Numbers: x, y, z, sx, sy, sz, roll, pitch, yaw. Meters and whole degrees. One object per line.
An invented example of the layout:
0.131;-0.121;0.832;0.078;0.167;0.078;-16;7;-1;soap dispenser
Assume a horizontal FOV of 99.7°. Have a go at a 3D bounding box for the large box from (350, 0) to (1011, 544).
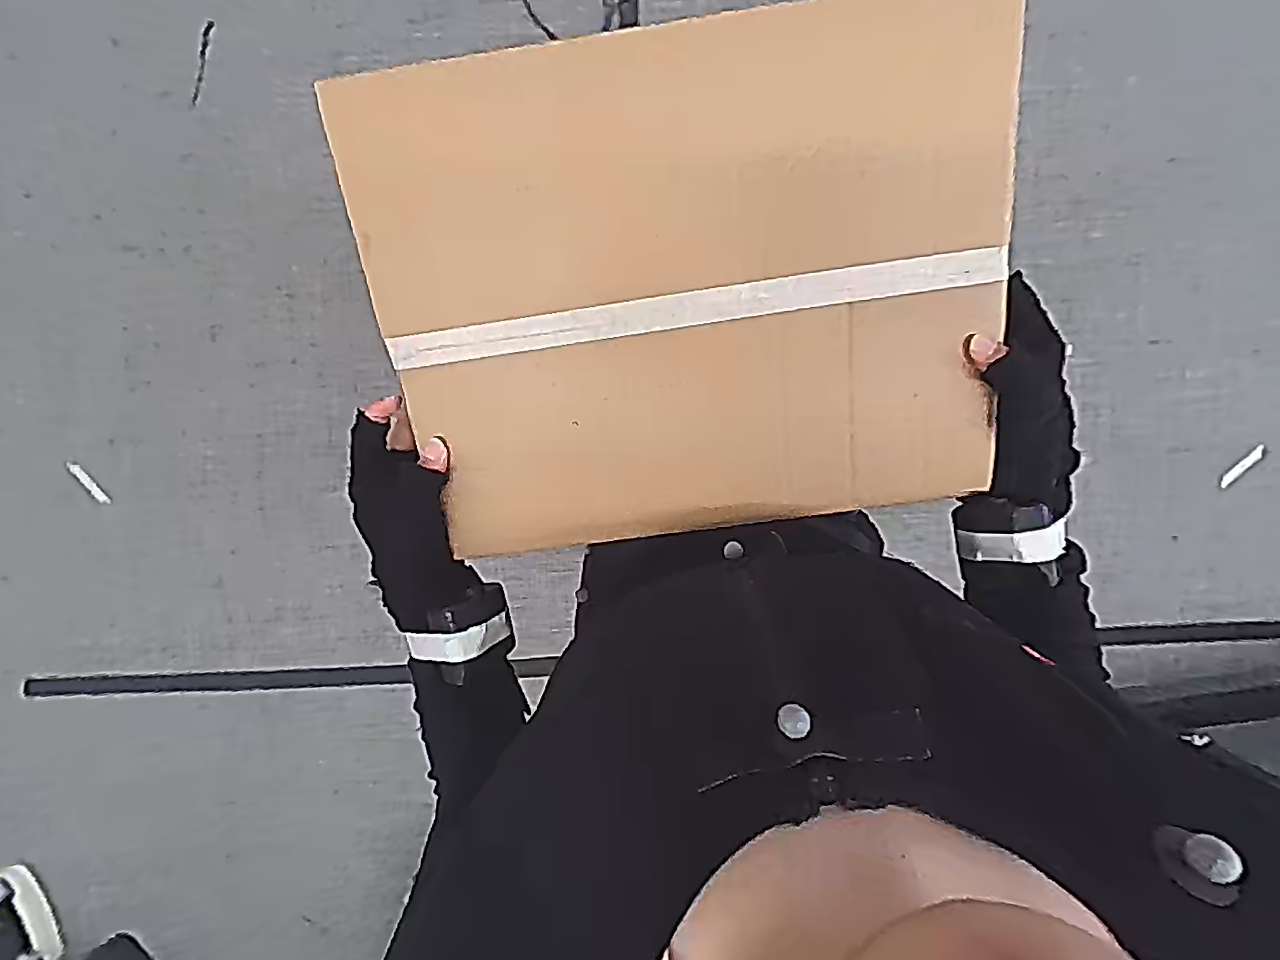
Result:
0.036;-0.164;0.507;0.408;0.320;0.320;-7;110;2;large box
